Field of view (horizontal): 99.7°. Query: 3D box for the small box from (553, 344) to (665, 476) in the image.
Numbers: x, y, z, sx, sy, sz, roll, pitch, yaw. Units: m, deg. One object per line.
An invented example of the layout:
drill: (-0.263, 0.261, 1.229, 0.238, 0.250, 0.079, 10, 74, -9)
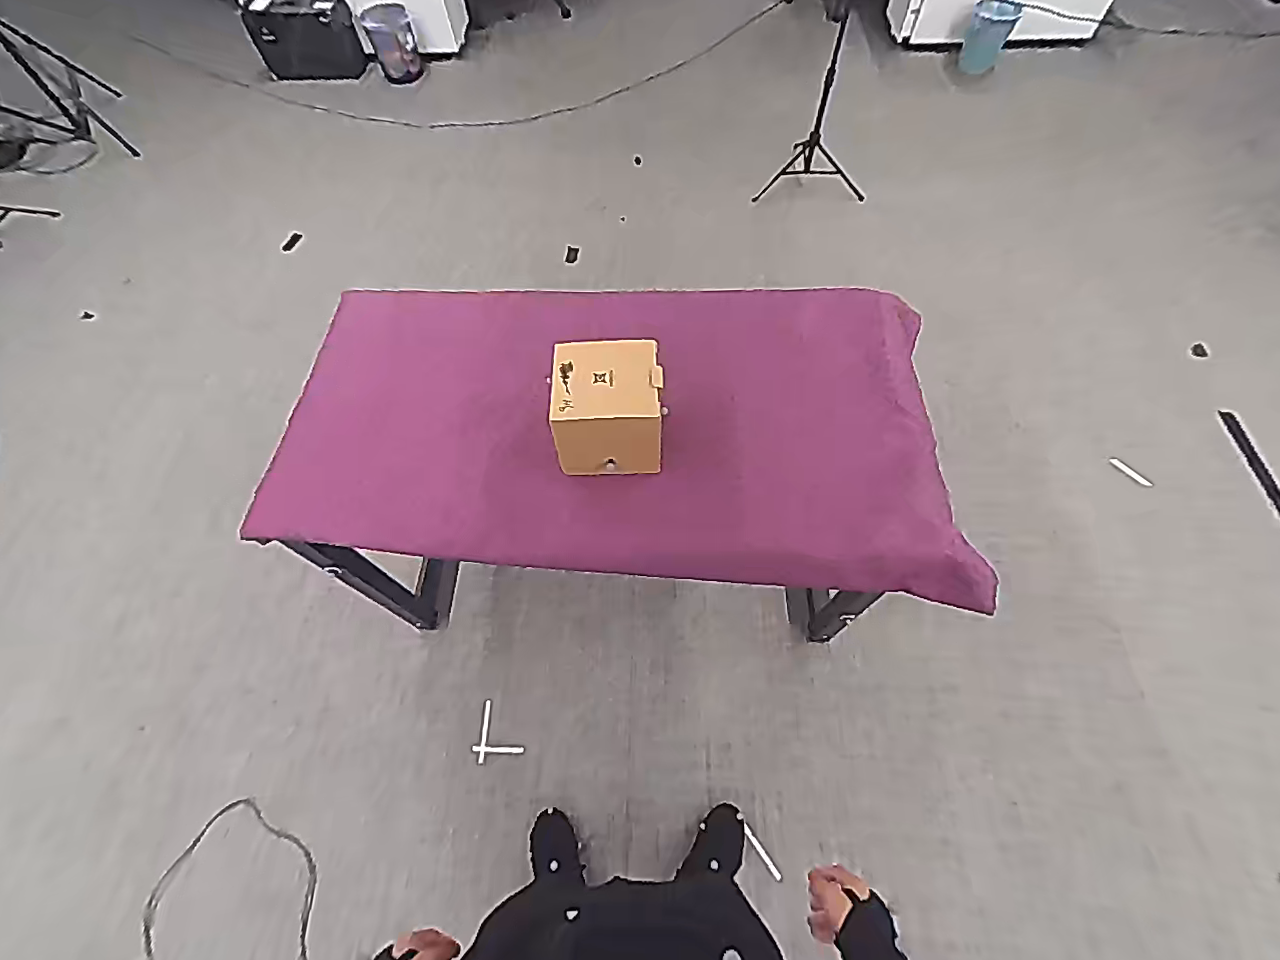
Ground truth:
small box: (-0.049, -0.117, 0.944, 0.179, 0.176, 0.168, -1, 59, 0)
